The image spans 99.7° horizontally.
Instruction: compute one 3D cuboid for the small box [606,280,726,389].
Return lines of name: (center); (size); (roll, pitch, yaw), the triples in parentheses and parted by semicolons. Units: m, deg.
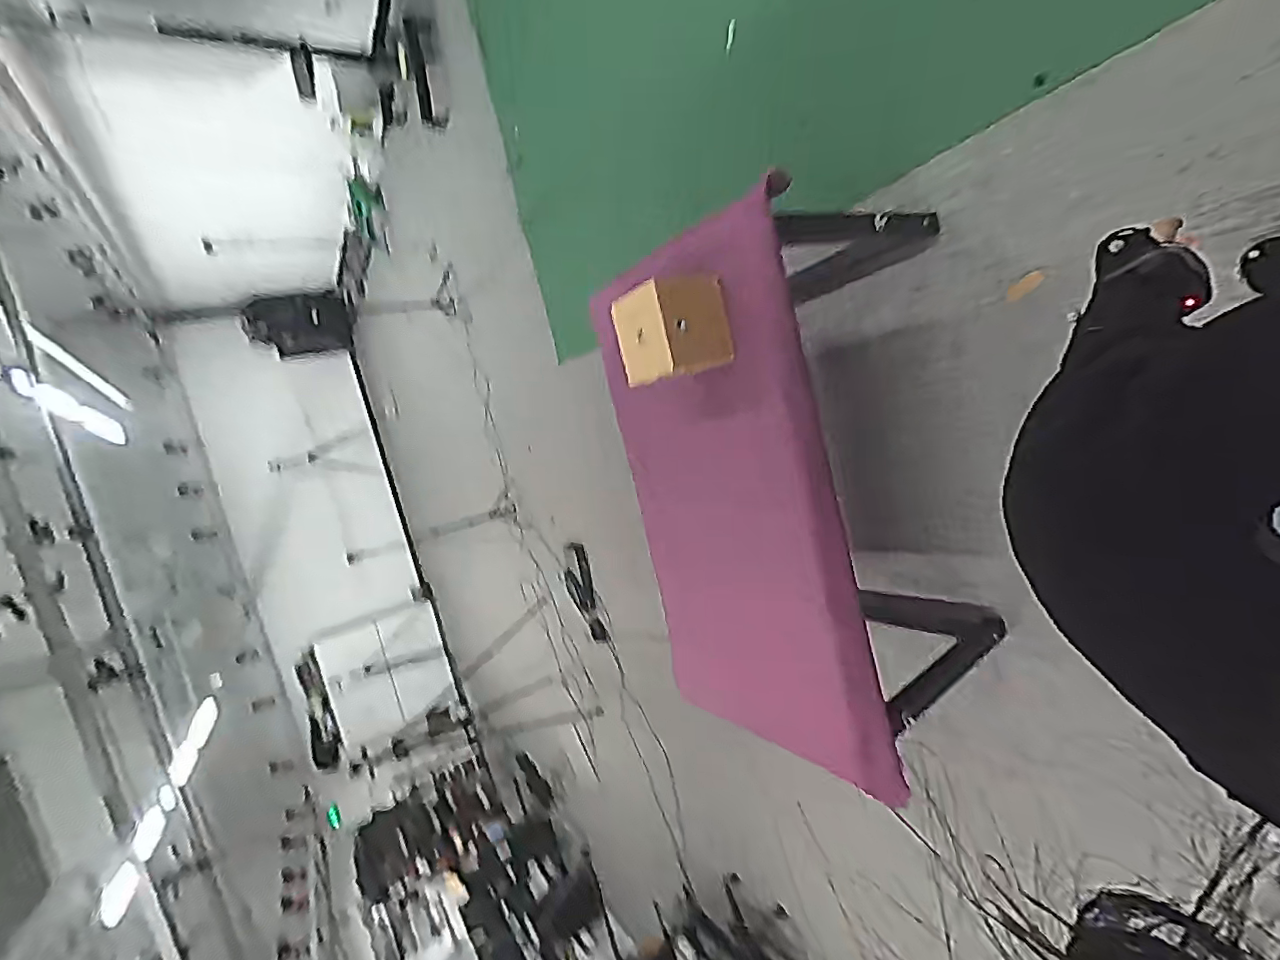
small box: (0.057, -0.300, 1.122); (0.168, 0.176, 0.179); (-3, 102, 57)
